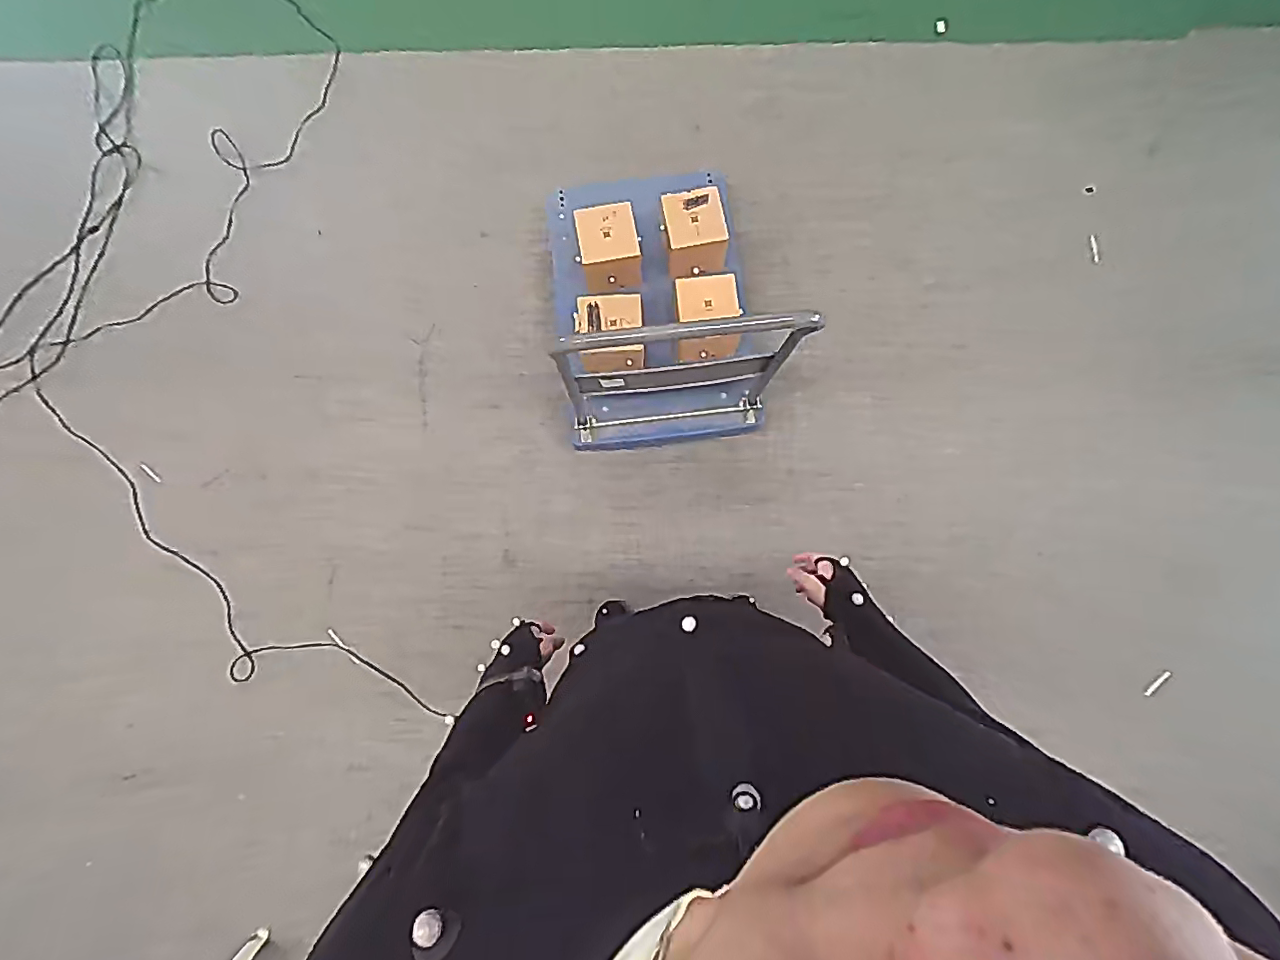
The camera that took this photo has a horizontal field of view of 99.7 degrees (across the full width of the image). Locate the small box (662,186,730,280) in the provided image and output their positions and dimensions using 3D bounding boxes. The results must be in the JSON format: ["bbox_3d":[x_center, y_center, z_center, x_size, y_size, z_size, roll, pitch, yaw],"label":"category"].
[{"bbox_3d":[0.157,-0.721,1.591,0.168,0.176,0.179,-10,80,0],"label":"small box"}]

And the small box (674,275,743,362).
[{"bbox_3d":[0.188,-0.457,1.541,0.168,0.176,0.179,-6,79,0],"label":"small box"}]

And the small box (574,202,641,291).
[{"bbox_3d":[-0.091,-0.675,1.587,0.168,0.176,0.179,-10,79,-2],"label":"small box"}]
